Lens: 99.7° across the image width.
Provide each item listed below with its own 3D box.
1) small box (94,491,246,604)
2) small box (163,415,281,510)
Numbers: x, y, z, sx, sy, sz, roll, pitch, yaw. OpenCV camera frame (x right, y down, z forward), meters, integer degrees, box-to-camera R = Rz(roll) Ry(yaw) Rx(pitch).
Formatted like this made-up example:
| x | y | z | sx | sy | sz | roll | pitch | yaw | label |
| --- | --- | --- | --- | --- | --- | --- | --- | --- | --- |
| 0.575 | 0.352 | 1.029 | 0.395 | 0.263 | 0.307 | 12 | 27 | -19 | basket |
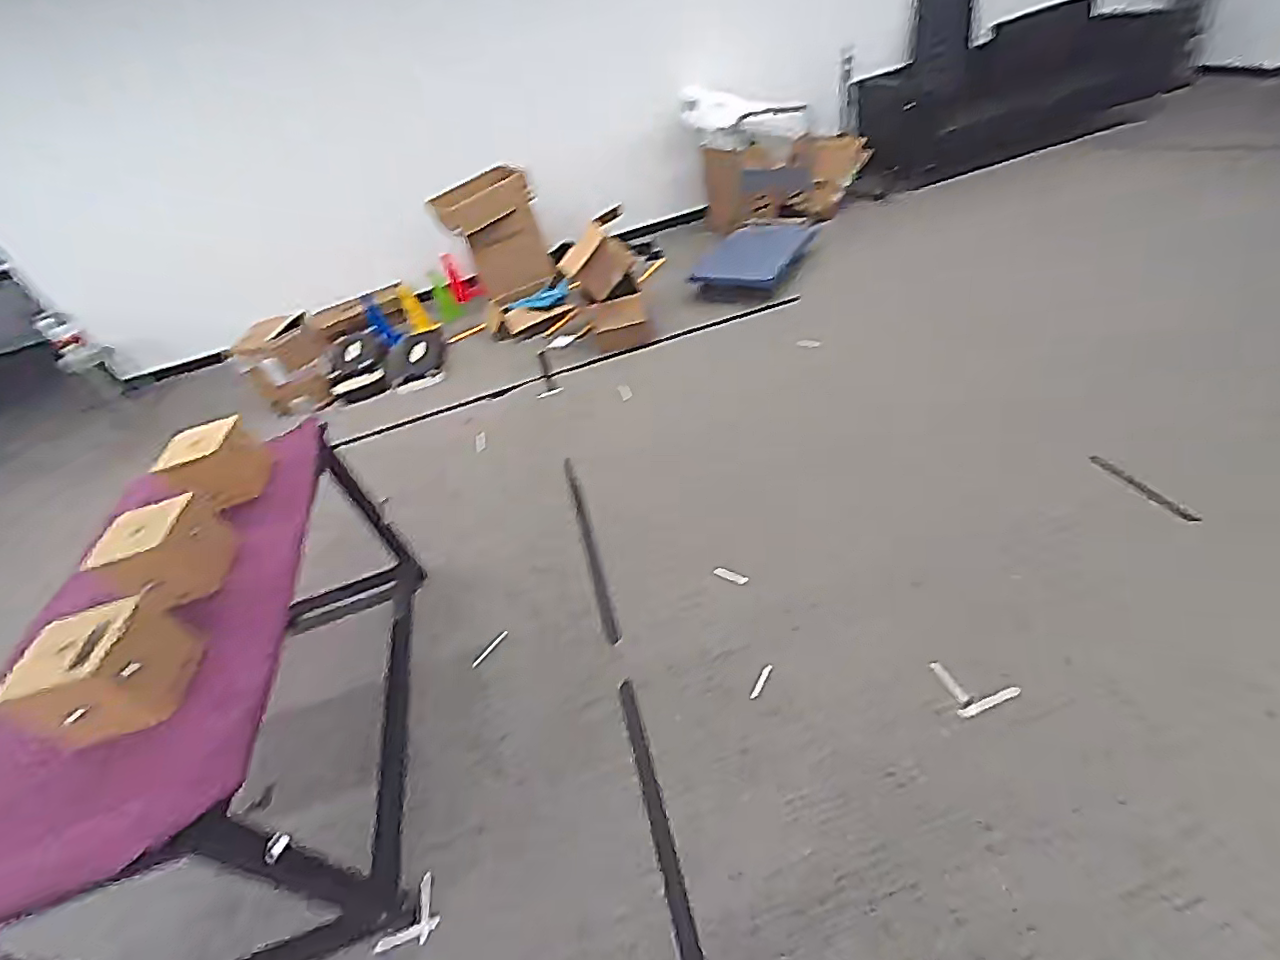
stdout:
| x | y | z | sx | sy | sz | roll | pitch | yaw | label |
| --- | --- | --- | --- | --- | --- | --- | --- | --- | --- |
| -1.046 | 0.159 | 1.226 | 0.168 | 0.176 | 0.179 | -17 | 40 | -2 | small box |
| -1.128 | -0.045 | 1.480 | 0.168 | 0.176 | 0.179 | -18 | 42 | -1 | small box |
